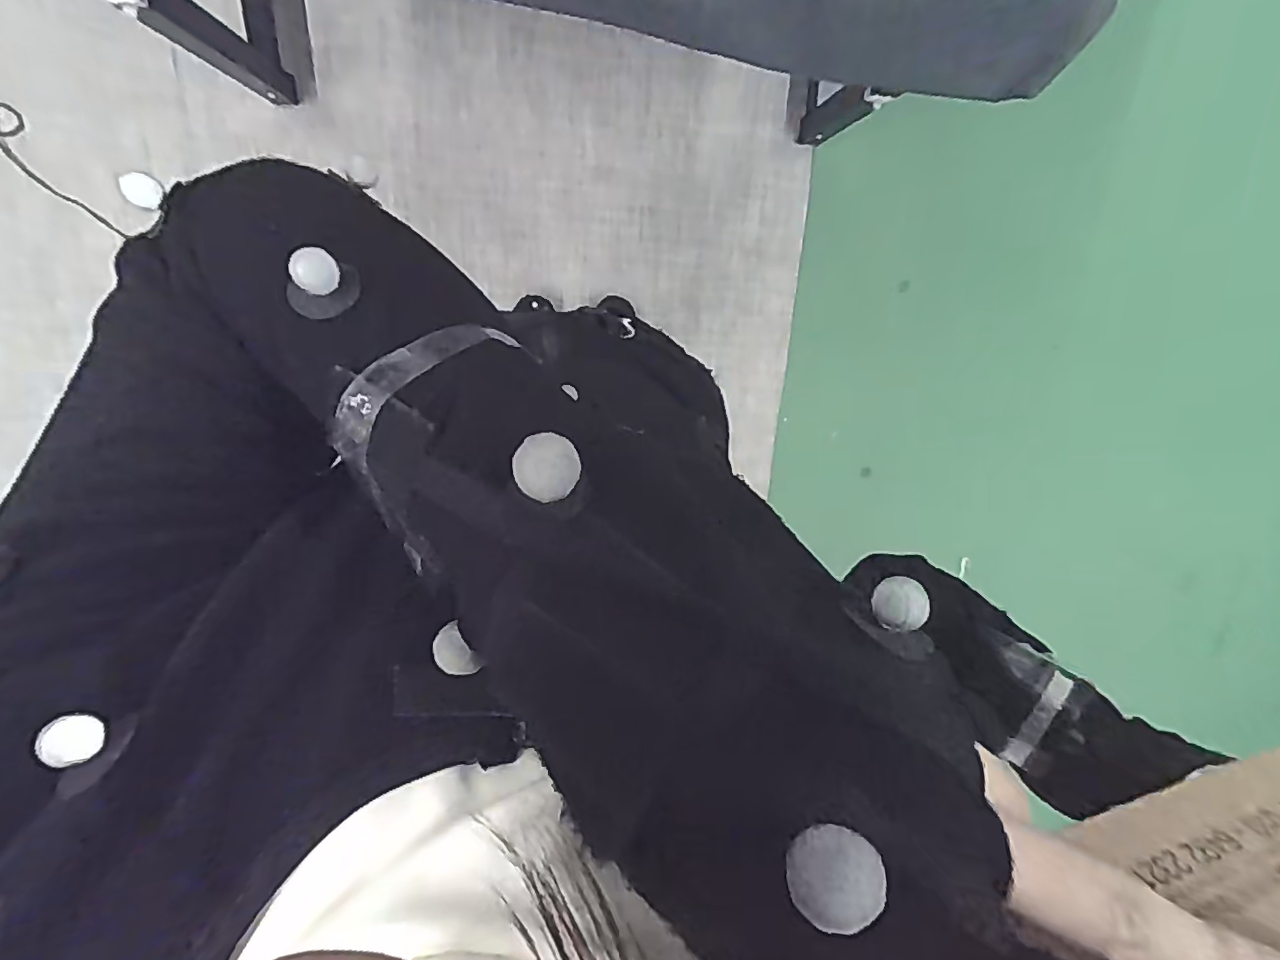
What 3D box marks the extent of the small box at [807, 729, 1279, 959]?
[{"bbox_3d":[0.143,0.191,0.111,0.168,0.176,0.179,-5,108,-18],"label":"small box"}]
